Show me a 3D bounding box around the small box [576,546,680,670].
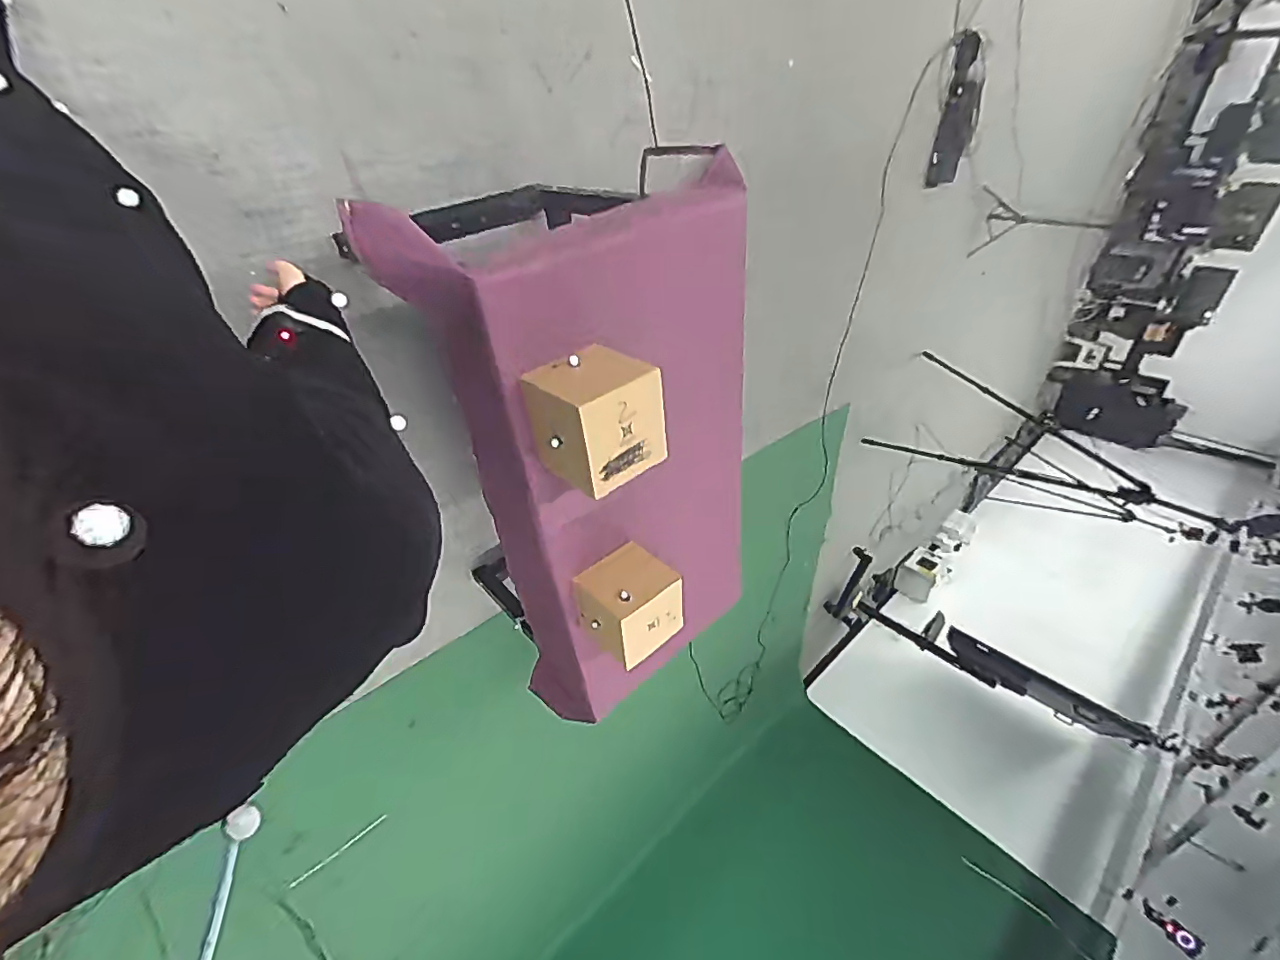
[{"bbox_3d":[-0.030,0.280,1.216,0.179,0.176,0.168,-30,133,-32],"label":"small box"}]
